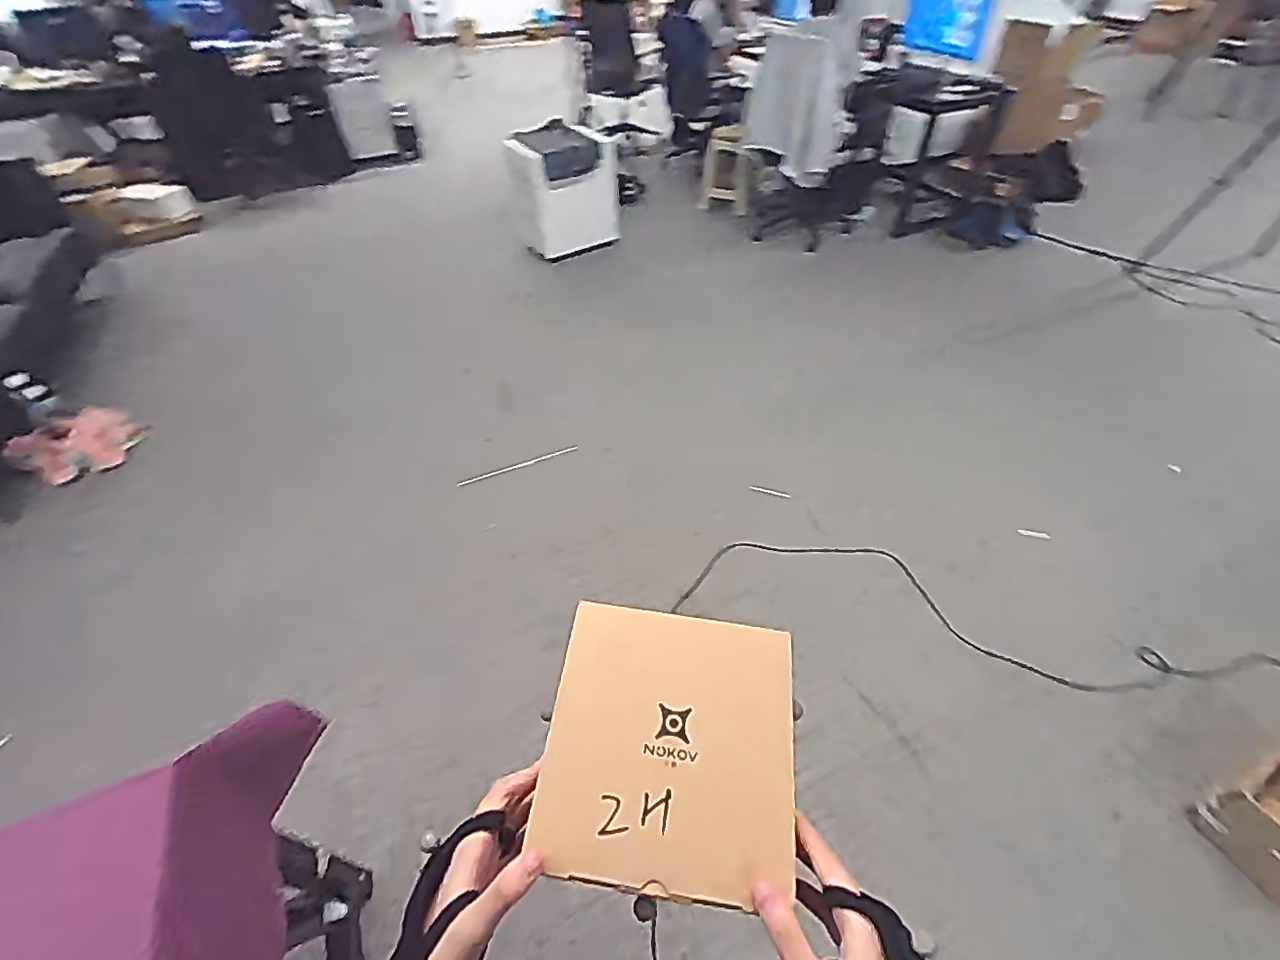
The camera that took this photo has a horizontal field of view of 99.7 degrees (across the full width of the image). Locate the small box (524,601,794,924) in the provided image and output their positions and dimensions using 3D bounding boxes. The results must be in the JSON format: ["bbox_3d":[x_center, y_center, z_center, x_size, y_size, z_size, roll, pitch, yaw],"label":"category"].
[{"bbox_3d":[0.020,0.224,0.436,0.168,0.176,0.179,9,55,5],"label":"small box"}]
